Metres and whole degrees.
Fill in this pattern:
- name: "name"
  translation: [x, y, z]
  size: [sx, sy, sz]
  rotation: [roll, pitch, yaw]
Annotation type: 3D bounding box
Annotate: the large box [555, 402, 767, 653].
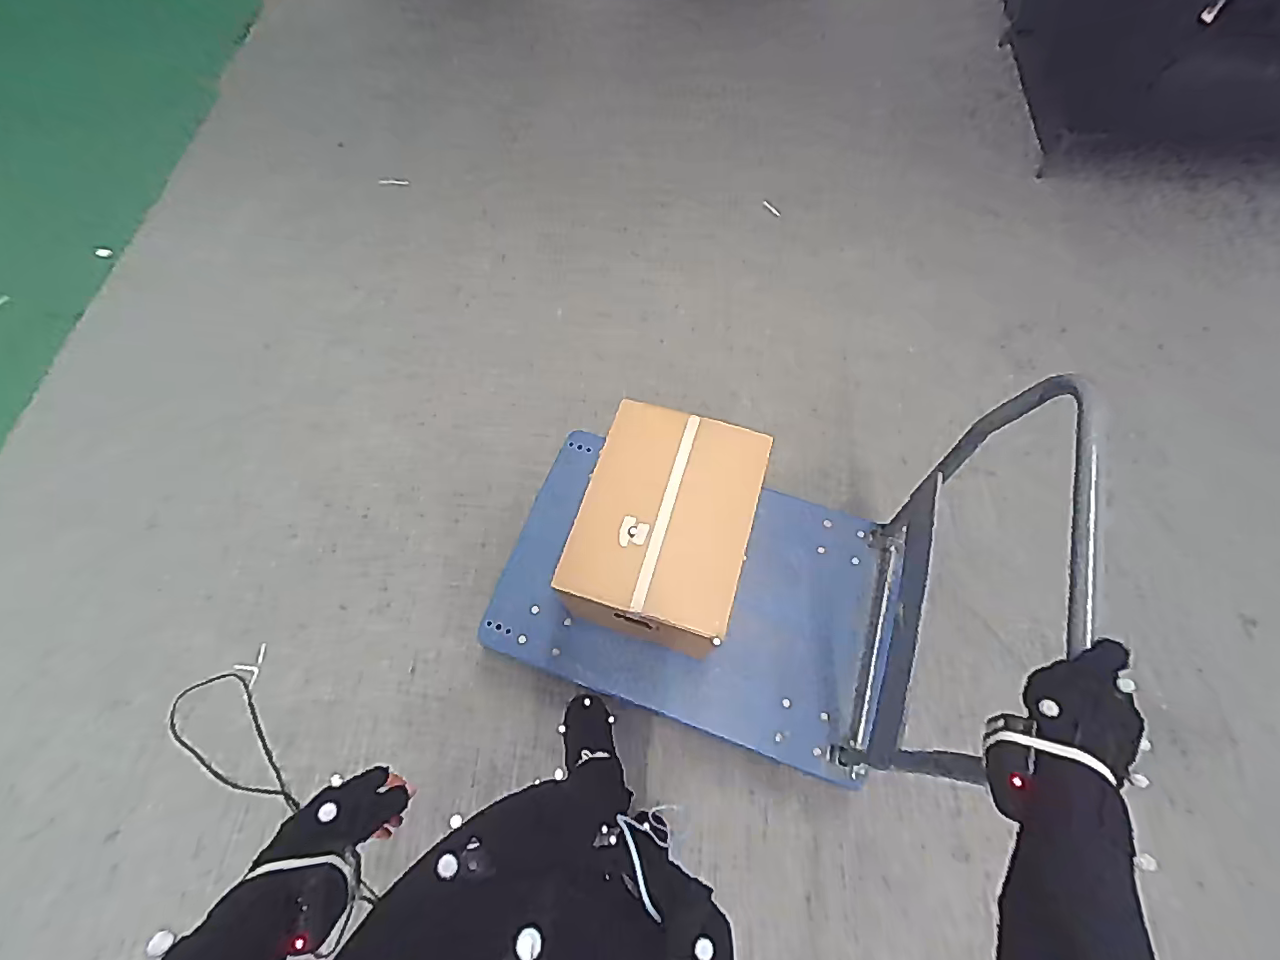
- name: "large box"
  translation: [0.052, 0.109, 1.137]
  size: [0.320, 0.320, 0.408]
  rotation: [15, 68, 9]
